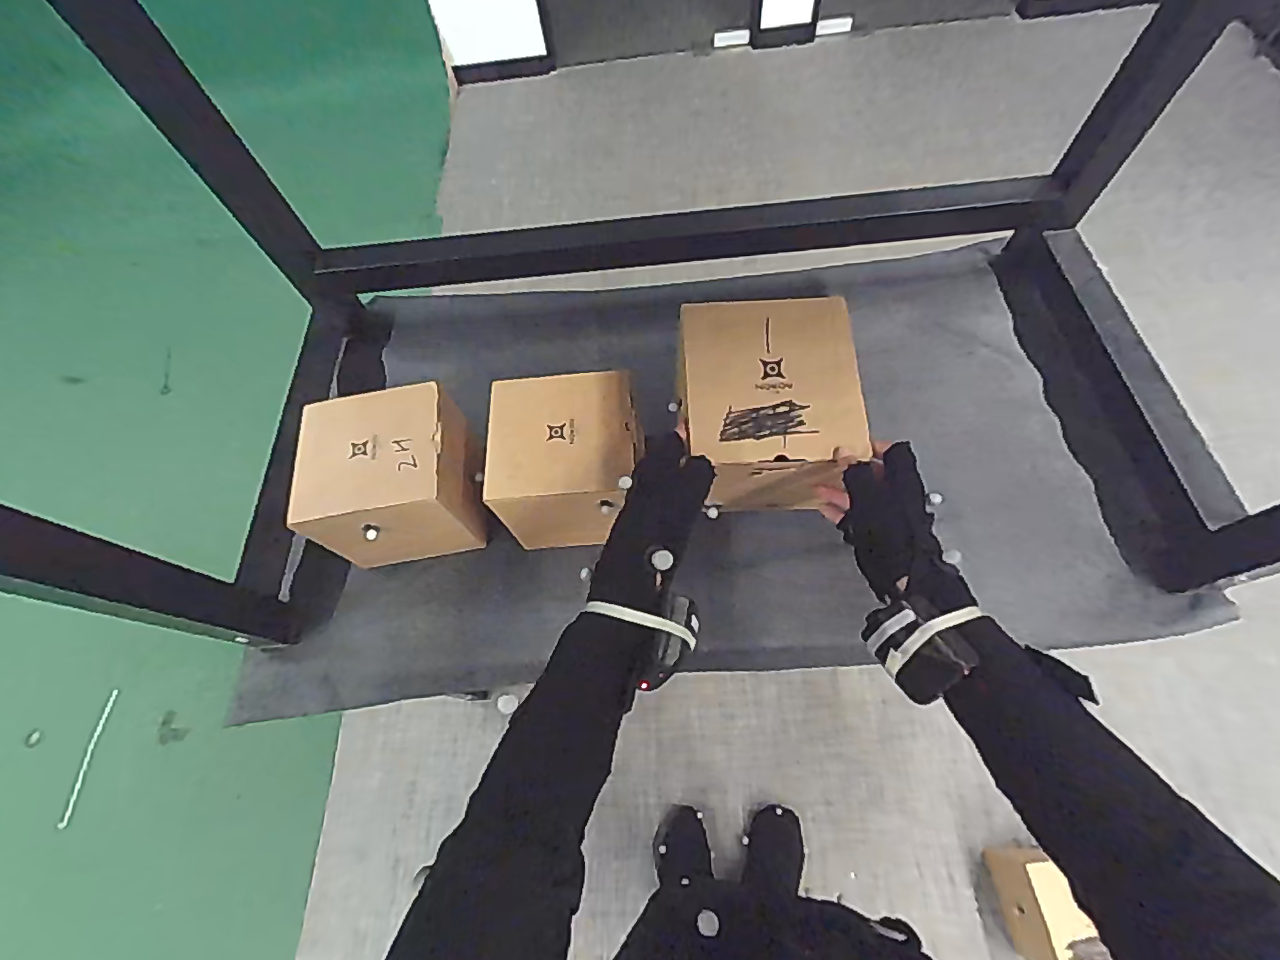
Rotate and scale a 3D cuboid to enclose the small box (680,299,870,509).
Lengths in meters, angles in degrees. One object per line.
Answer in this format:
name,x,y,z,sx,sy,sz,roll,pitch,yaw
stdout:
small box,0.128,-0.069,0.586,0.168,0.176,0.179,-2,71,2
